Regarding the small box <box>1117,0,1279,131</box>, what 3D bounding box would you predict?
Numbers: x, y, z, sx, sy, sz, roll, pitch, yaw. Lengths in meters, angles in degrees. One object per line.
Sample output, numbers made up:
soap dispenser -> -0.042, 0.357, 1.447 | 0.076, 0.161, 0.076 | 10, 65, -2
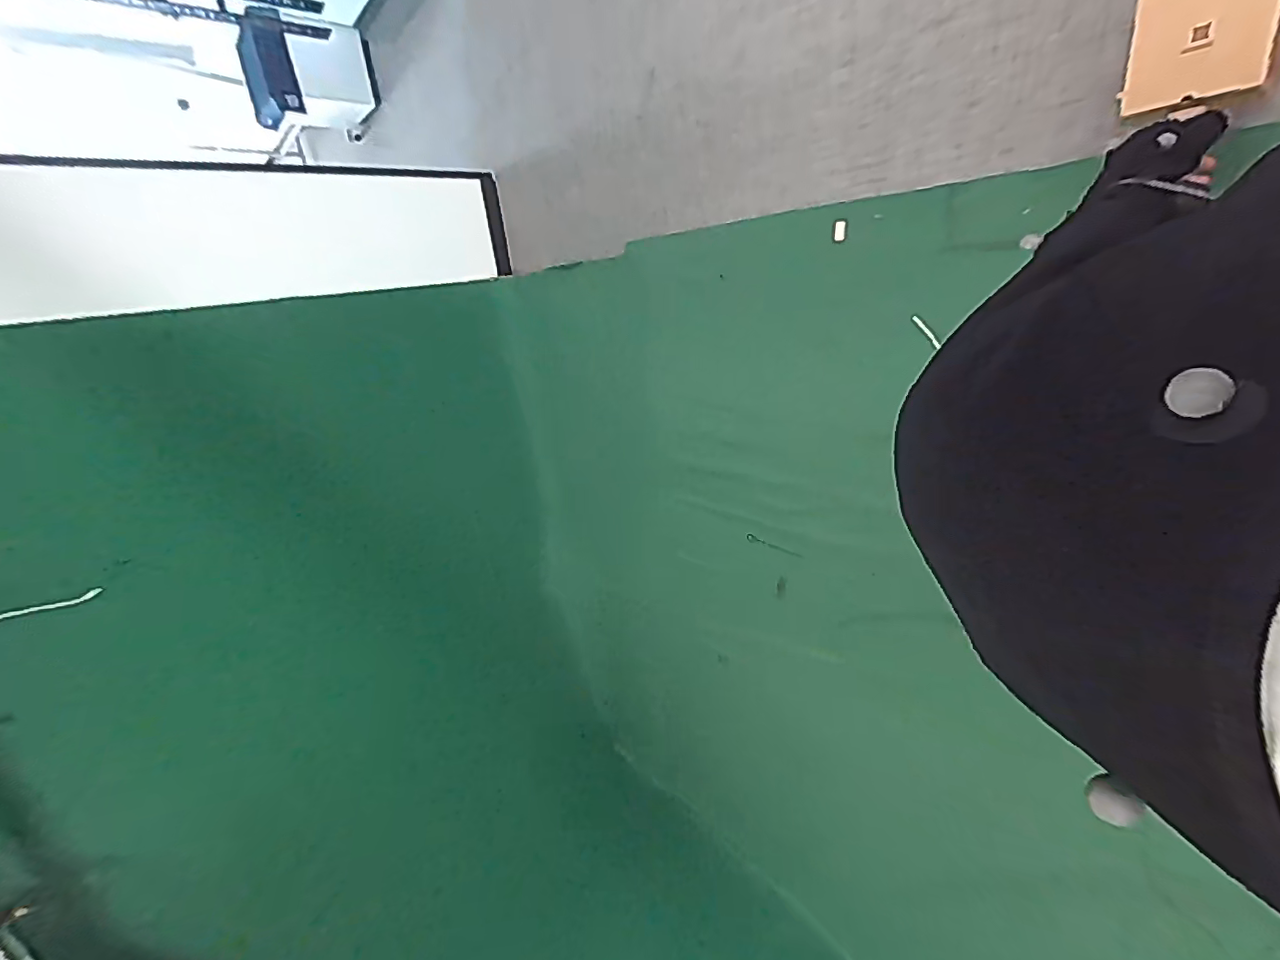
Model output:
small box -> 0.922, -0.702, 0.890 | 0.168, 0.176, 0.179 | 15, 119, 47
